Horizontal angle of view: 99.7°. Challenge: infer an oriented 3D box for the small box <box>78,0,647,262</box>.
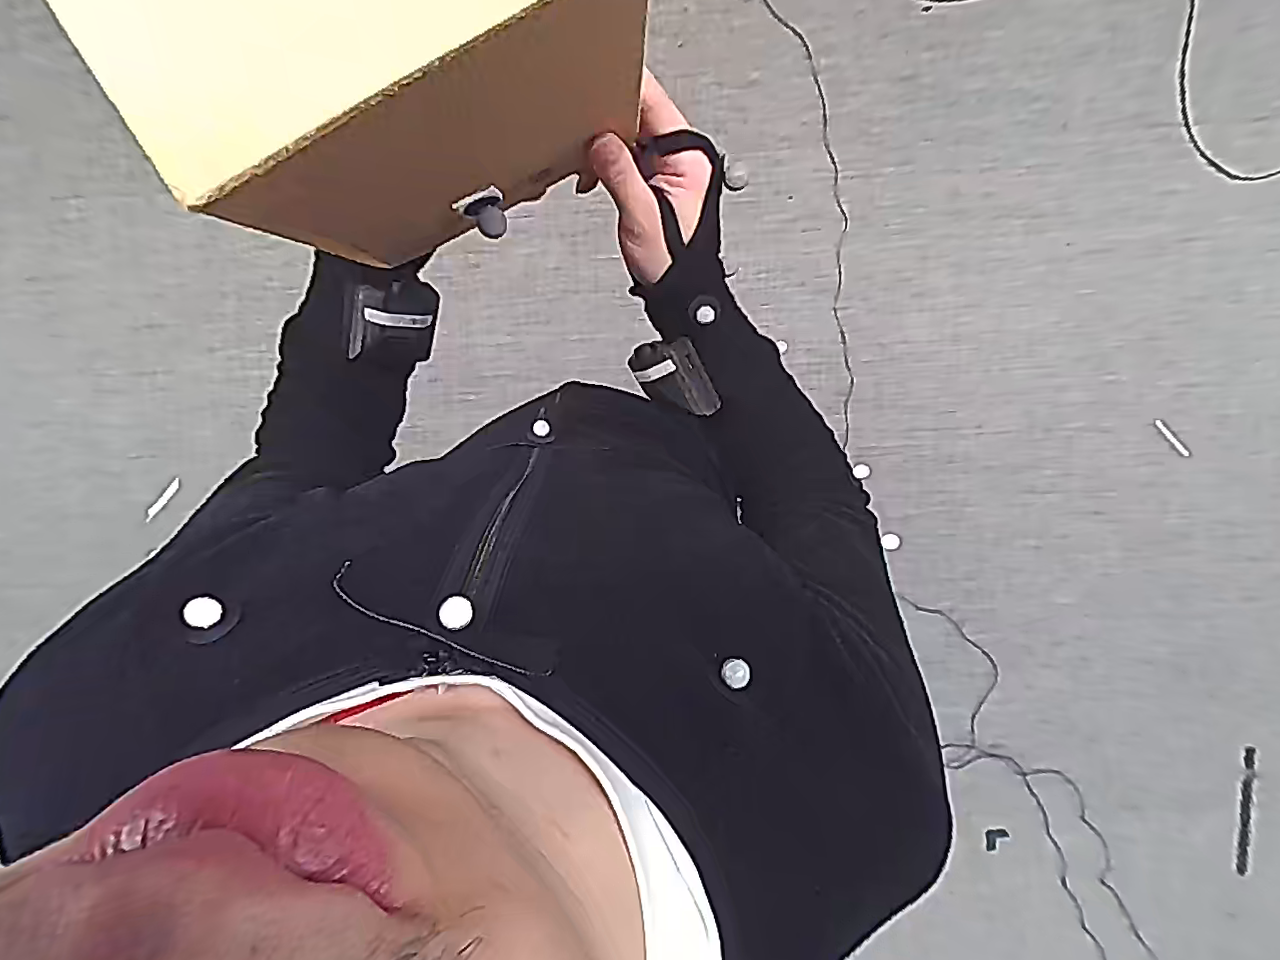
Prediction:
[{"bbox_3d":[-0.110,-0.220,0.231,0.168,0.176,0.179,-26,104,6],"label":"small box"}]
